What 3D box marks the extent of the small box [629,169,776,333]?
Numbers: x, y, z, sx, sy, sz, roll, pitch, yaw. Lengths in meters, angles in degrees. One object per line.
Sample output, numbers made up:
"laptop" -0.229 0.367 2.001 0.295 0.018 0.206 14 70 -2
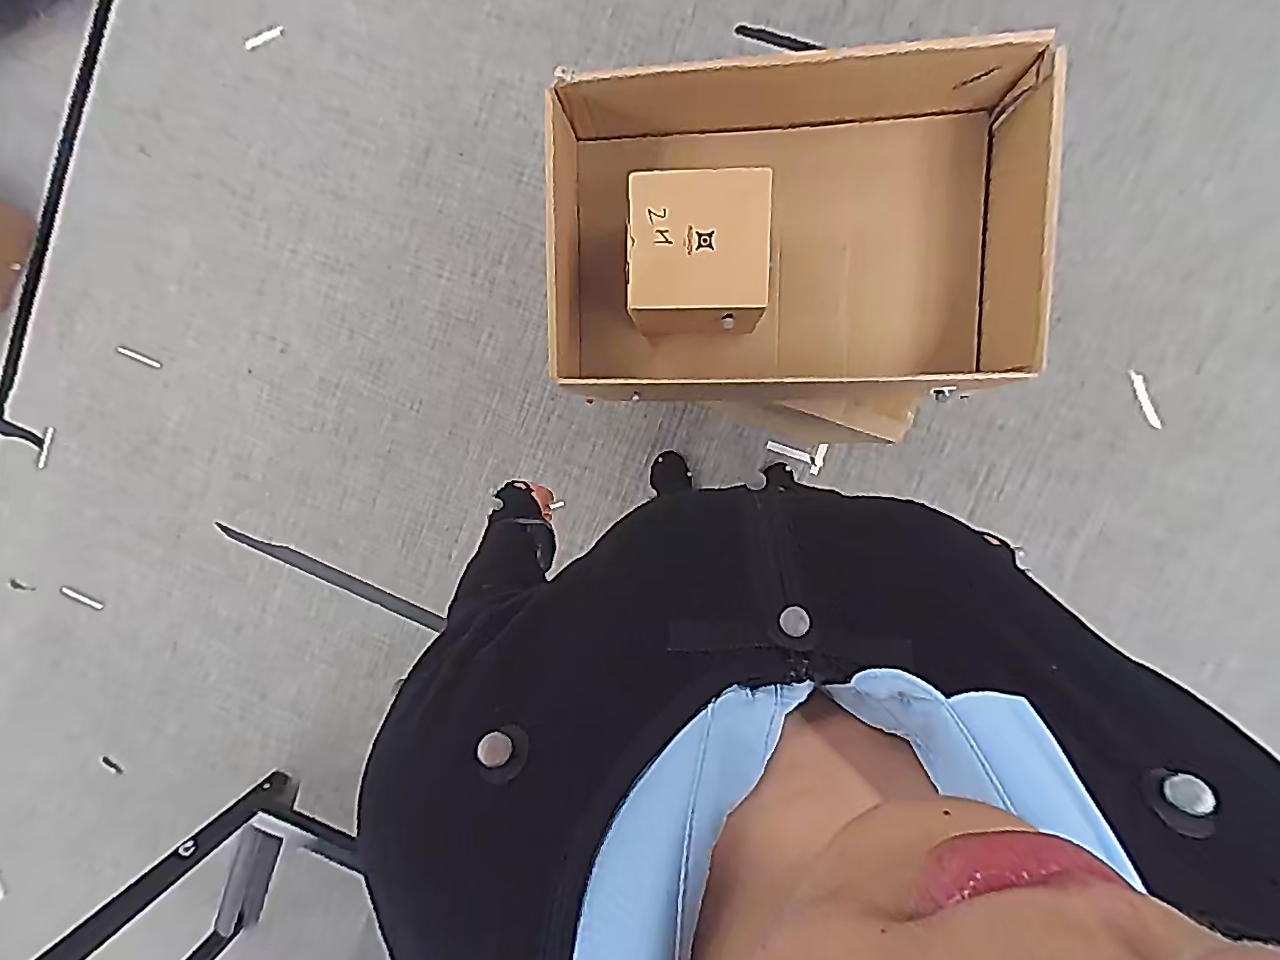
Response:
"small box" 0.083 -0.301 0.740 0.179 0.176 0.168 2 95 7
